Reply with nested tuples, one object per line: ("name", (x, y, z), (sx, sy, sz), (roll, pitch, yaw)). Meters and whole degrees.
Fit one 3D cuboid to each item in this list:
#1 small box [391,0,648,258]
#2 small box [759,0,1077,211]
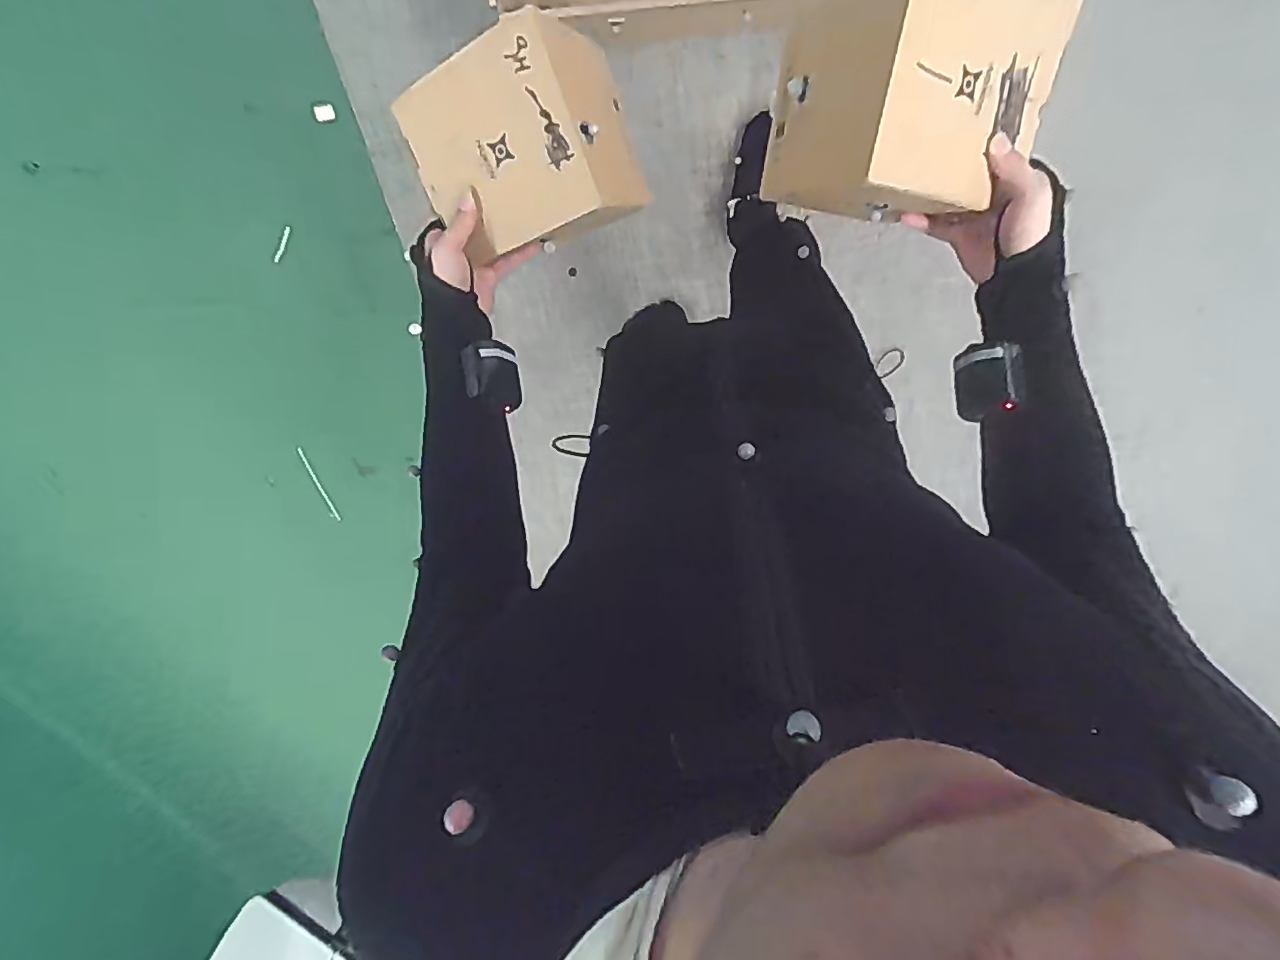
("small box", (-0.115, -0.355, 0.581), (0.179, 0.176, 0.168), (-12, 111, 26))
("small box", (0.240, -0.355, 0.504), (0.179, 0.176, 0.168), (0, 111, -19))
